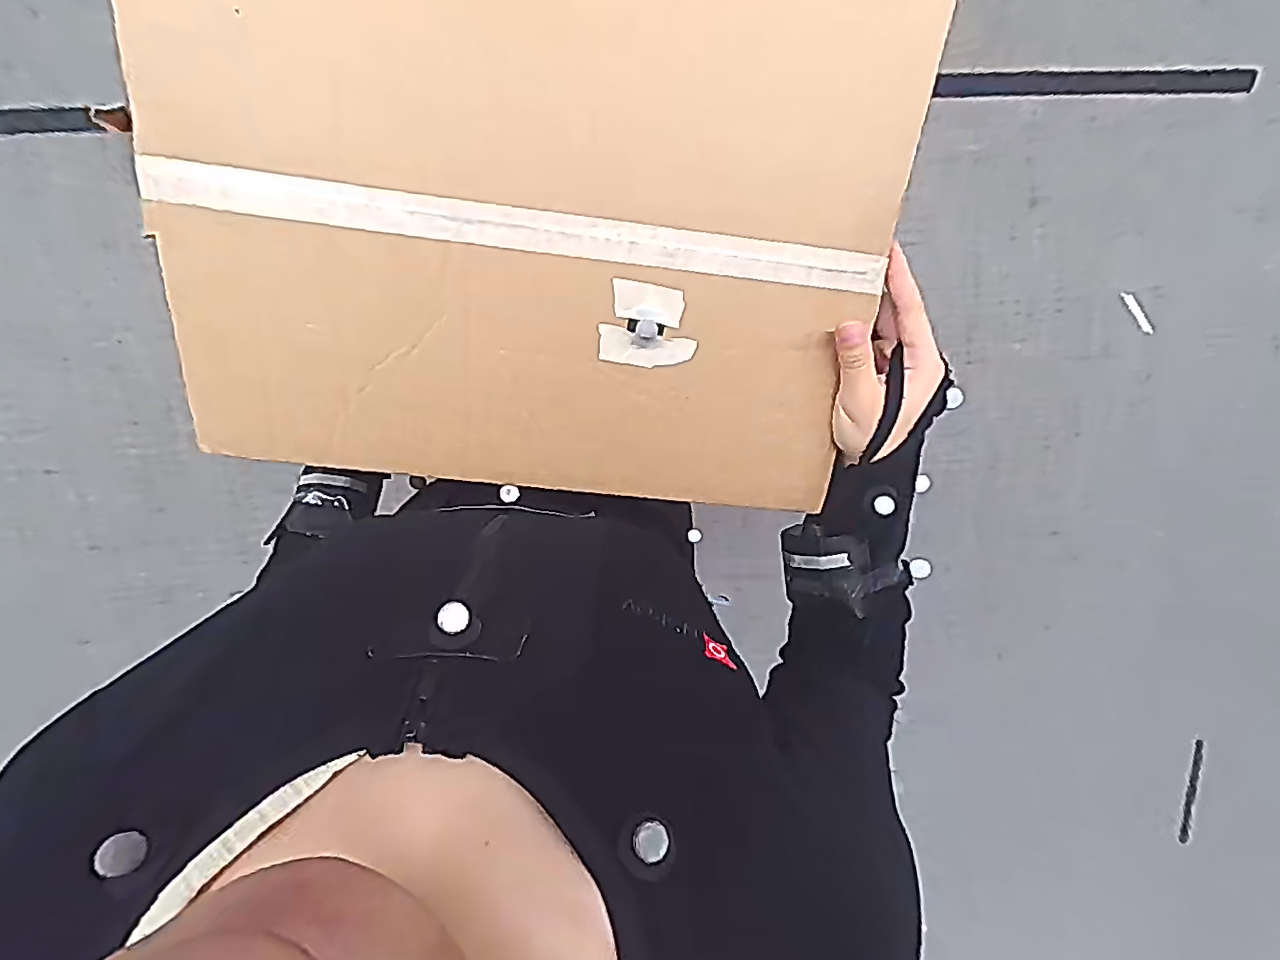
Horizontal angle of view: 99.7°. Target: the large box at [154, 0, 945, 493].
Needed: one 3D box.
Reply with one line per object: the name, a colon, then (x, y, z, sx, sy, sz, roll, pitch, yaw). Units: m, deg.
large box: (-0.062, -0.199, 0.450, 0.408, 0.320, 0.320, 5, 112, -6)
